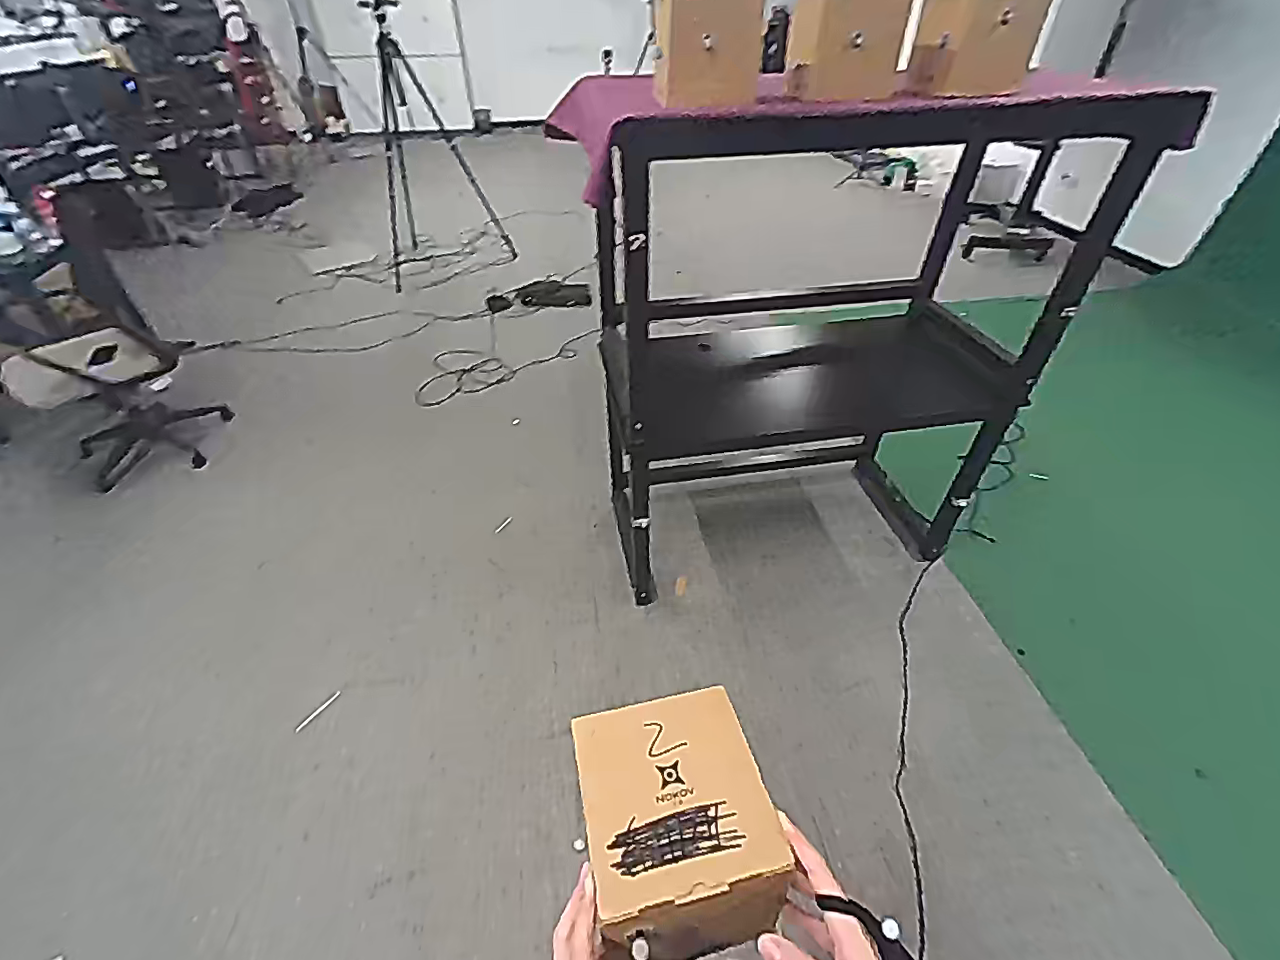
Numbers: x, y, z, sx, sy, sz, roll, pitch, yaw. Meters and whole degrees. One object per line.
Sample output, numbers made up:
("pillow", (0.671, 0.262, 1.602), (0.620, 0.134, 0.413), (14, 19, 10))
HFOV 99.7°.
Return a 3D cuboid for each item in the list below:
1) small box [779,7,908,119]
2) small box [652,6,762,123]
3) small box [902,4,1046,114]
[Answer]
("small box", (0.398, -0.841, 1.090), (0.179, 0.176, 0.168), (-5, 40, -4))
("small box", (0.122, -0.805, 1.051), (0.179, 0.176, 0.168), (-6, 42, -5))
("small box", (0.671, -0.868, 1.119), (0.179, 0.176, 0.168), (-7, 41, -7))
